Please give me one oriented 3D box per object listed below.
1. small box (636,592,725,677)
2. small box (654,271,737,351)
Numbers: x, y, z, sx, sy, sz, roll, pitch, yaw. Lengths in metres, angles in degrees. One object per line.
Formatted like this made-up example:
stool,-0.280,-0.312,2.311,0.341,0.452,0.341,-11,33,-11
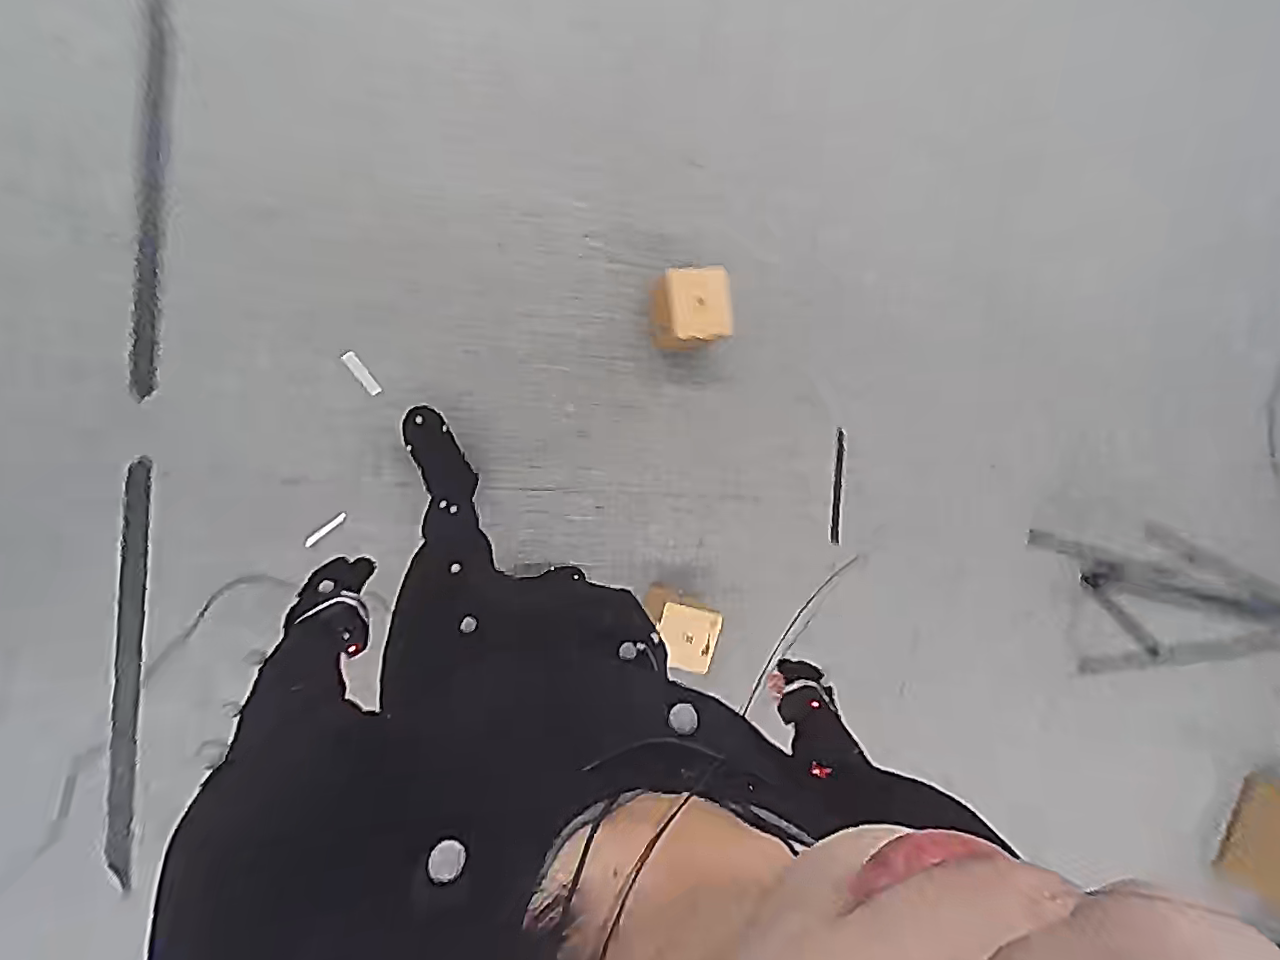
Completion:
small box,0.104,0.422,1.504,0.179,0.176,0.168,19,89,-15
small box,0.147,-0.452,1.470,0.168,0.176,0.179,-9,94,-16
